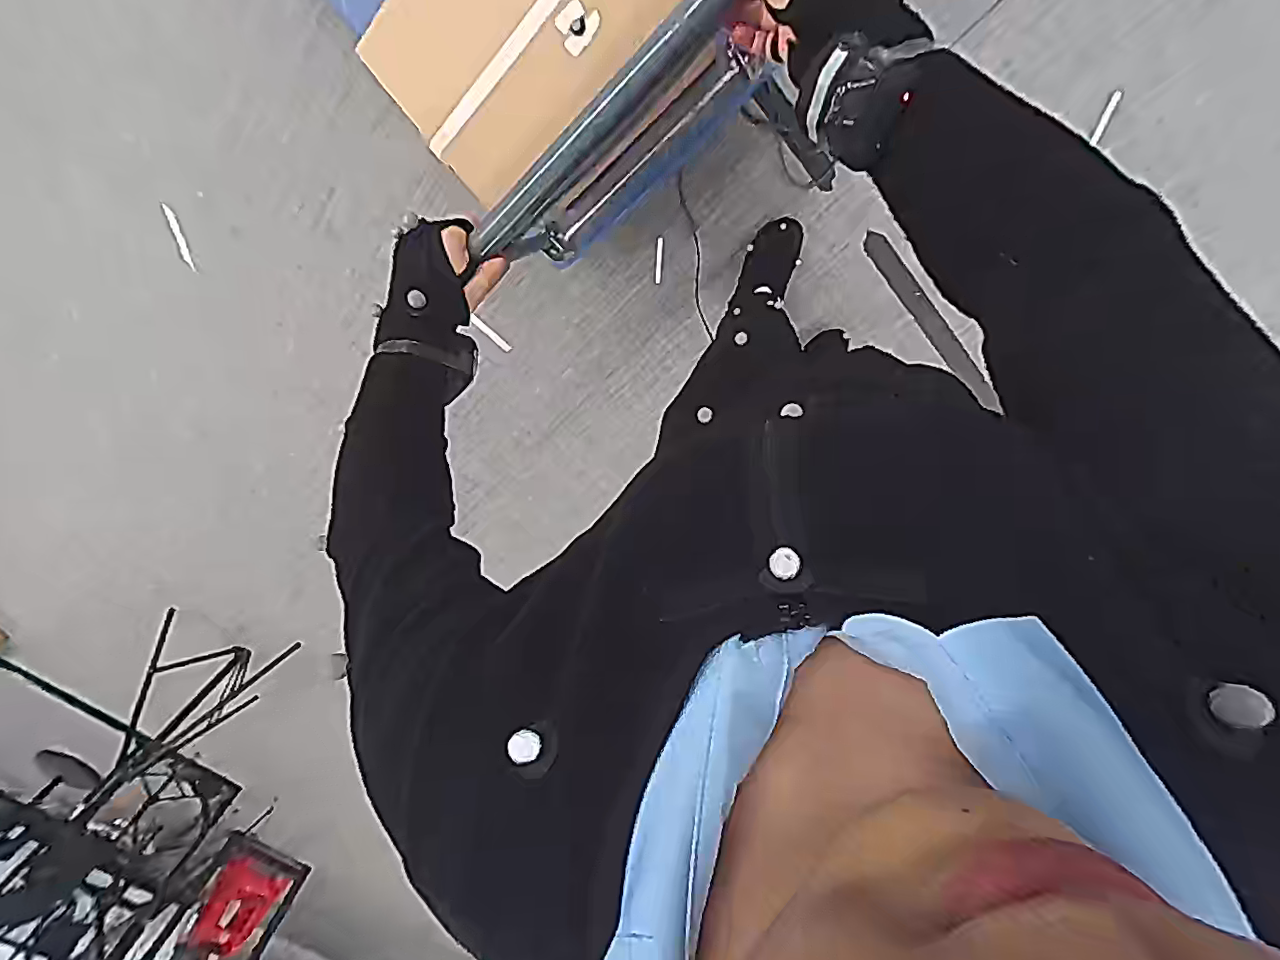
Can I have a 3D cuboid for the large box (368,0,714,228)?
[{"bbox_3d":[-0.133,-0.683,0.869,0.408,0.320,0.320,-34,111,25],"label":"large box"}]
